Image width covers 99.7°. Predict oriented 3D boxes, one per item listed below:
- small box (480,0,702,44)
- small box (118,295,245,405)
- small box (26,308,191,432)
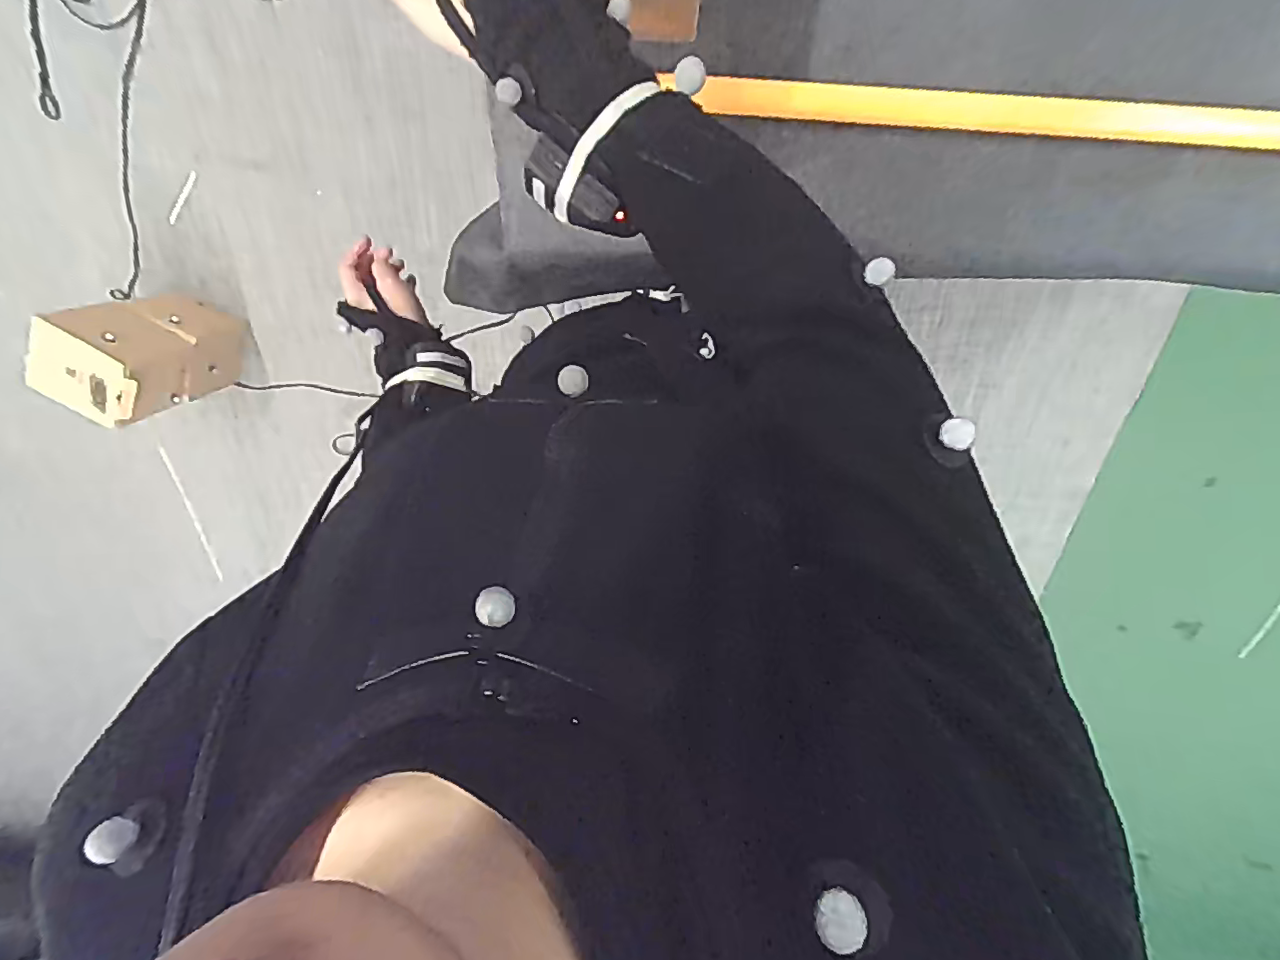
[{"bbox_3d":[-0.037,-0.402,0.335,0.168,0.176,0.179,3,118,3],"label":"small box"},{"bbox_3d":[-1.074,-0.309,1.271,0.168,0.176,0.179,27,116,-10],"label":"small box"},{"bbox_3d":[-1.094,-0.236,1.125,0.179,0.176,0.168,32,114,-11],"label":"small box"}]
